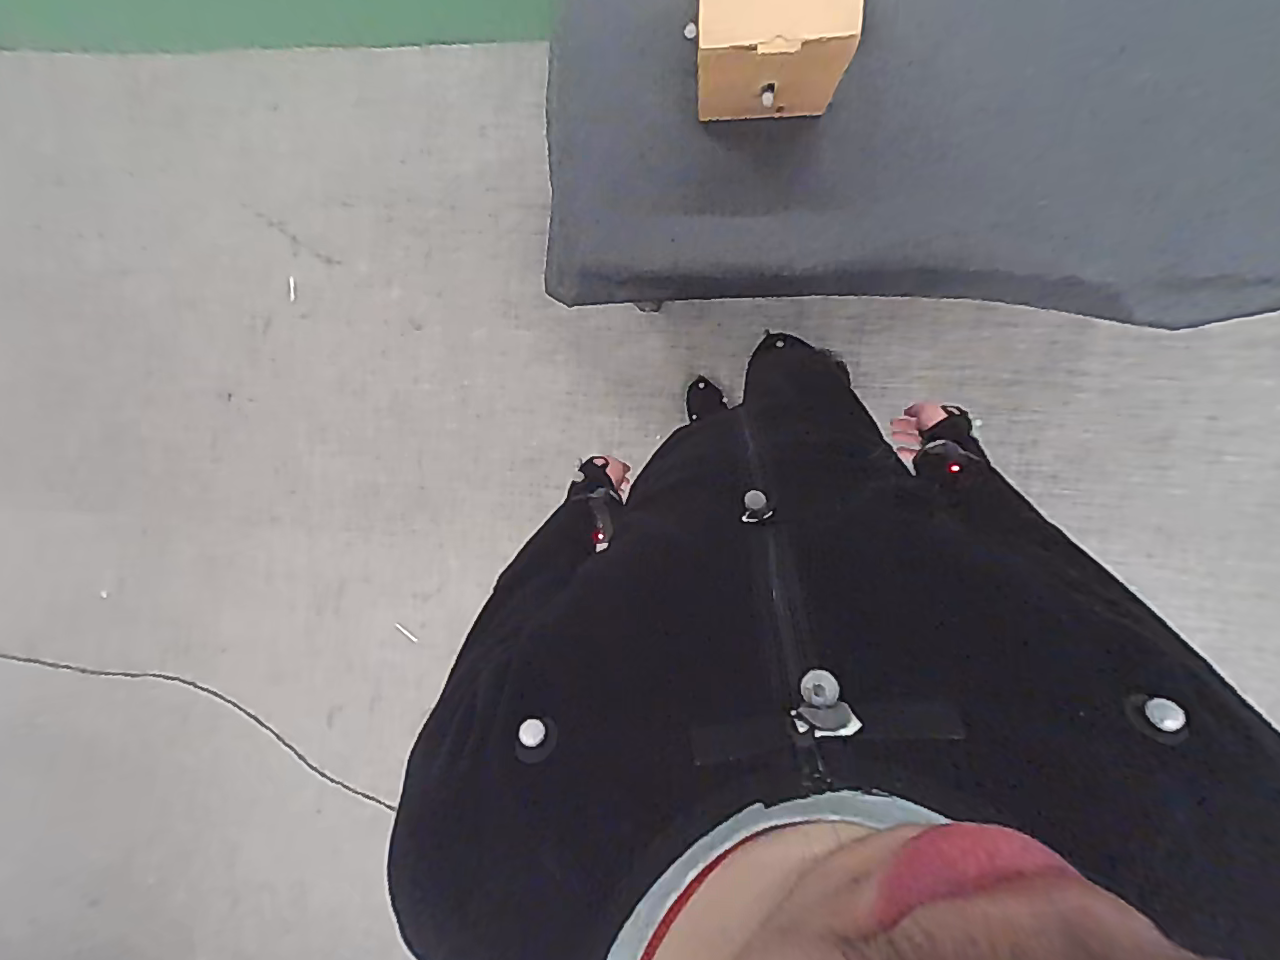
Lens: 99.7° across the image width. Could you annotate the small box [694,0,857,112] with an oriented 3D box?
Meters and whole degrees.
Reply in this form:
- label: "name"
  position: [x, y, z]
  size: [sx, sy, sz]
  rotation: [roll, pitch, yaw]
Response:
- label: "small box"
  position: [0.146, -0.548, 0.617]
  size: [0.168, 0.176, 0.179]
  rotation: [0, 102, 6]
